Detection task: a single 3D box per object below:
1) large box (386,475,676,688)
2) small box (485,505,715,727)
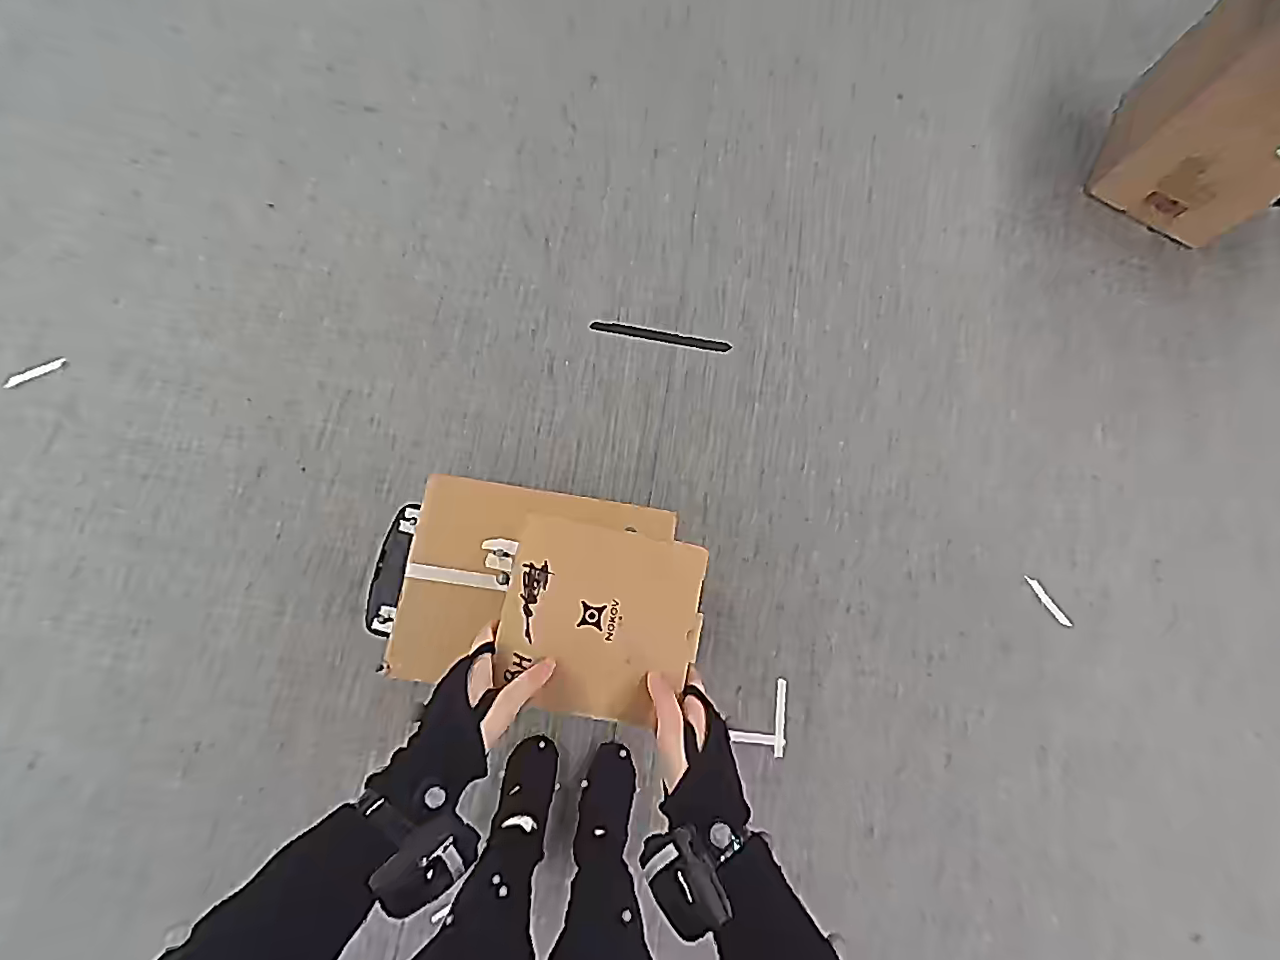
[{"bbox_3d":[-0.164,0.200,0.974,0.408,0.320,0.320,9,75,-2],"label":"large box"},{"bbox_3d":[-0.041,0.134,0.555,0.179,0.176,0.168,13,76,-5],"label":"small box"}]
